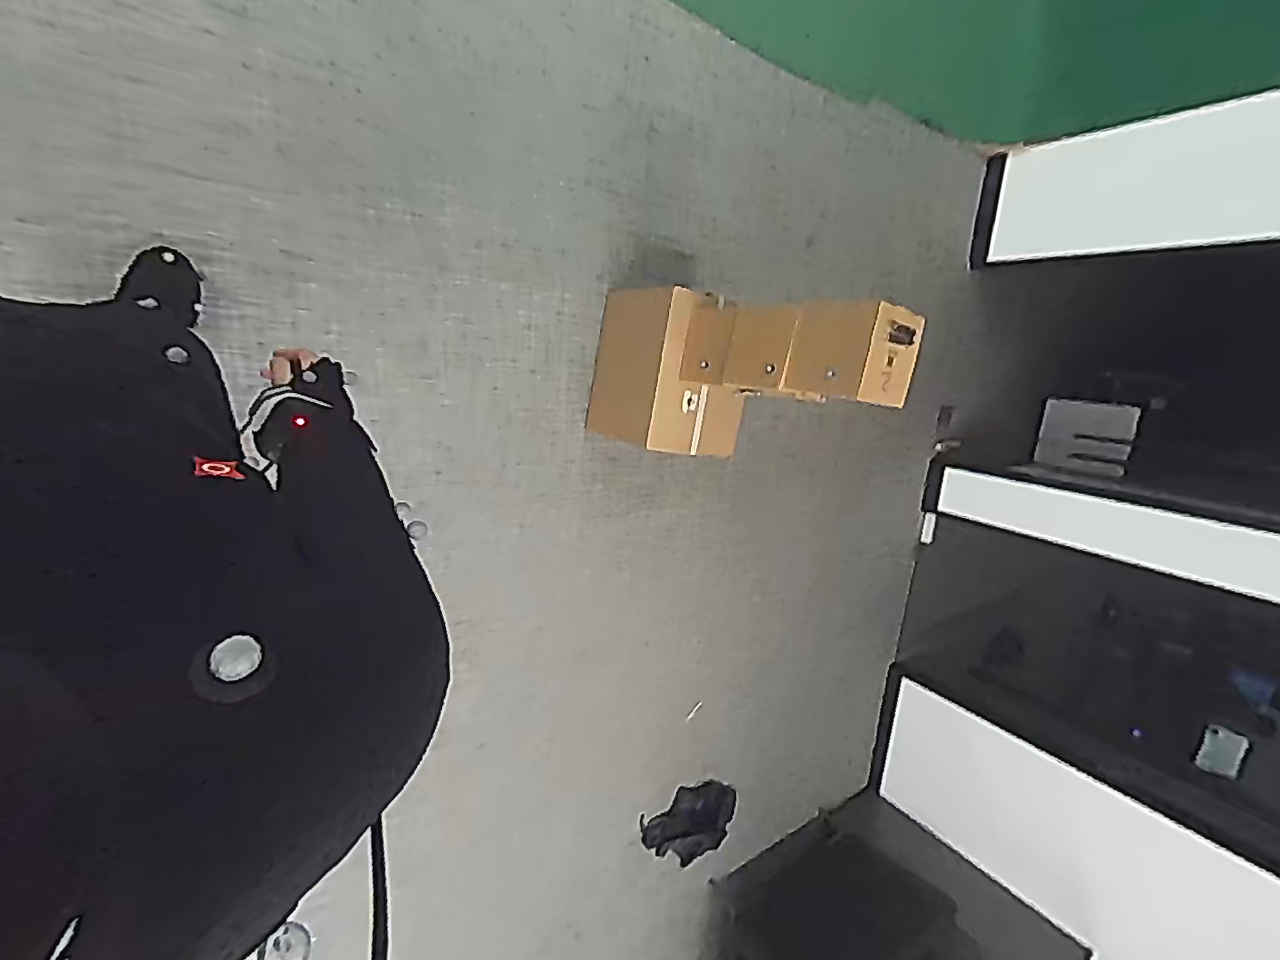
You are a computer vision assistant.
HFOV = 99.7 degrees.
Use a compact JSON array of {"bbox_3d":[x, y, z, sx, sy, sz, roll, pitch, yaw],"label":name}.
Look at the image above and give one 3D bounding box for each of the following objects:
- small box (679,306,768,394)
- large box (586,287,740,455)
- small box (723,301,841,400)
[{"bbox_3d":[0.215,-0.315,1.315,0.168,0.176,0.179,2,101,-38],"label":"small box"},{"bbox_3d":[0.075,-0.305,1.524,0.320,0.320,0.408,2,103,-36],"label":"large box"},{"bbox_3d":[0.305,-0.283,1.183,0.168,0.176,0.179,5,102,-38],"label":"small box"}]
